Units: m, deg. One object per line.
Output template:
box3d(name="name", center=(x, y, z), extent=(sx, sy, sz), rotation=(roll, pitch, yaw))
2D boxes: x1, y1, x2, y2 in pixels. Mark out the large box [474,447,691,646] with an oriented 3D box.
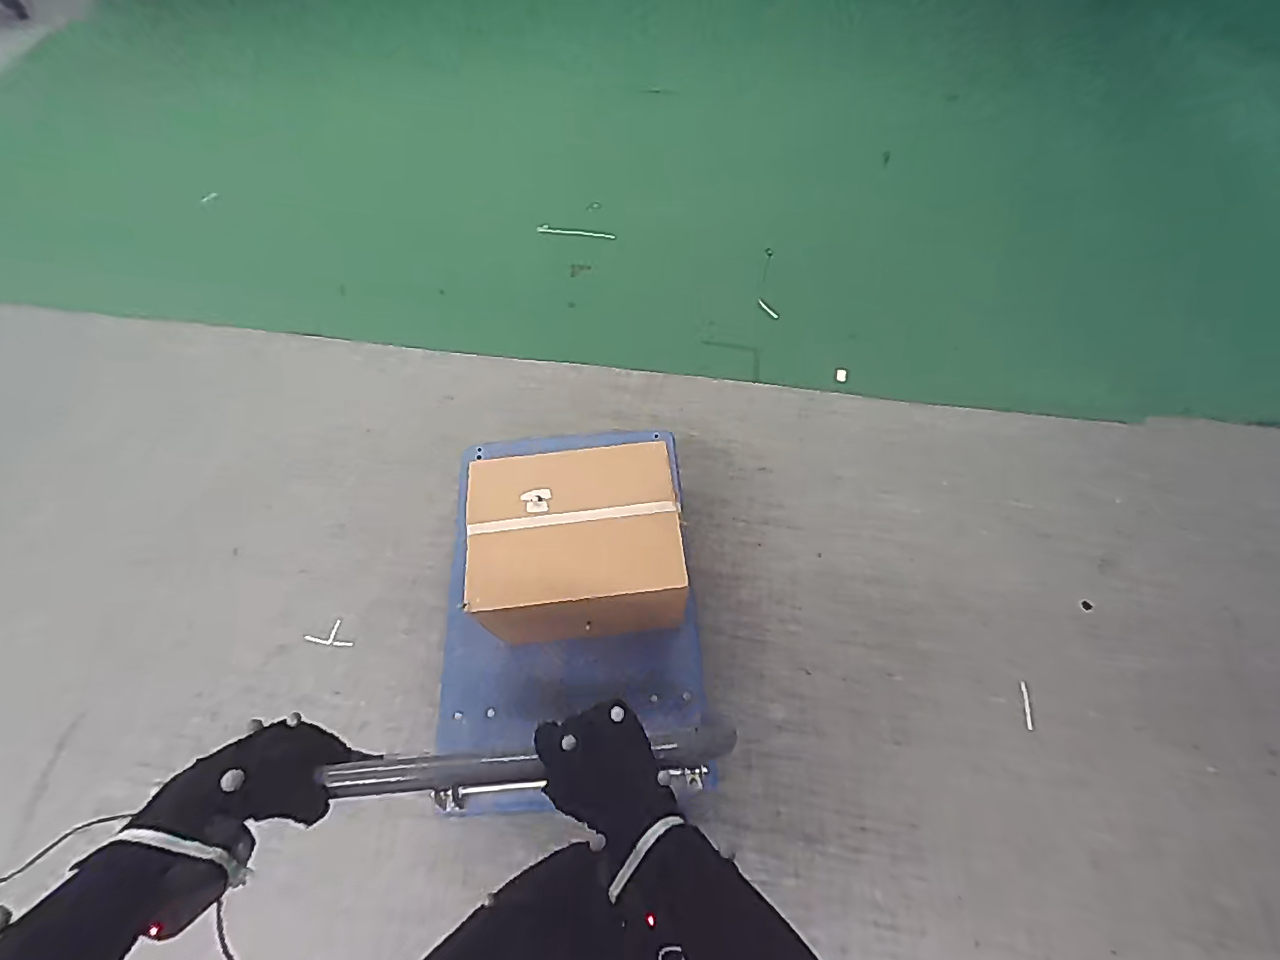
box3d(name="large box", center=(-0.116, 0.159, 1.181), extent=(0.408, 0.320, 0.320), rotation=(-7, 62, -1))
